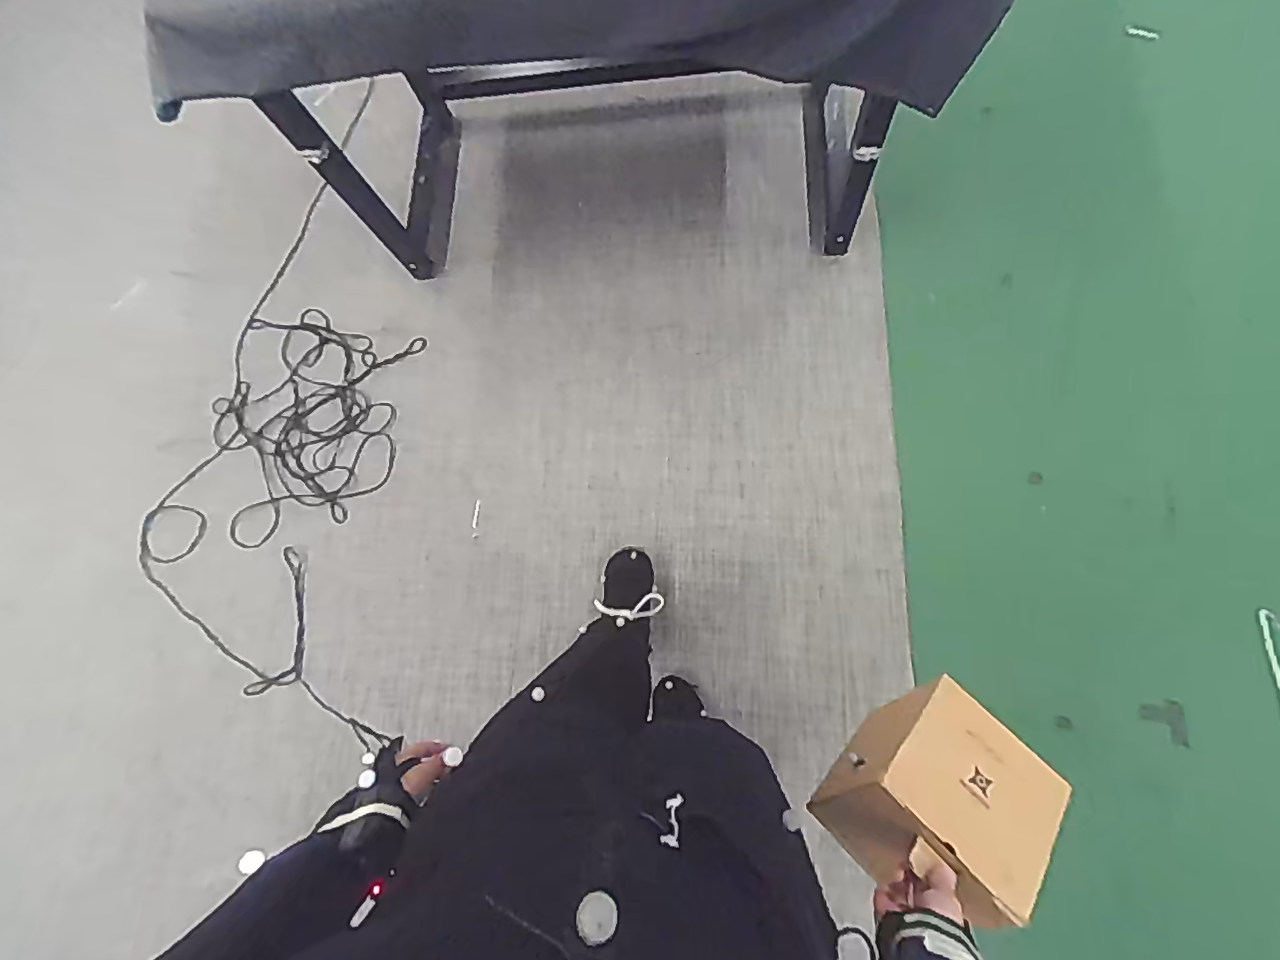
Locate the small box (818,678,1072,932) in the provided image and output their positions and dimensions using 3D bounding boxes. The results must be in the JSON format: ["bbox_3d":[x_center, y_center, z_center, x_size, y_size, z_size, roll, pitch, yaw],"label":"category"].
[{"bbox_3d":[0.335,0.371,0.622,0.179,0.176,0.168,-31,67,-36],"label":"small box"}]
